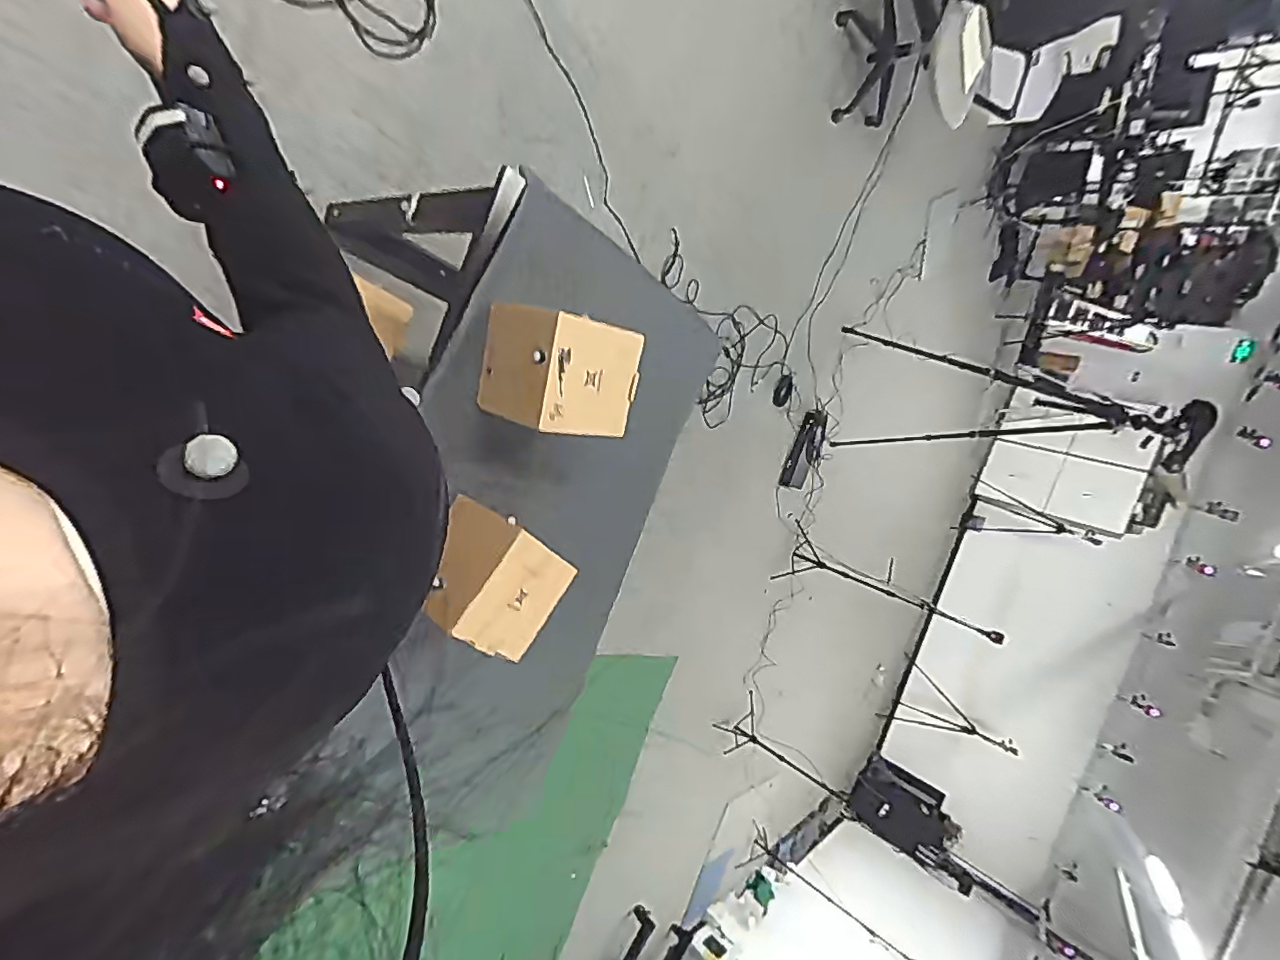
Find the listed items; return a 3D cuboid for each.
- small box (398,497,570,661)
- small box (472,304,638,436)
[{"bbox_3d":[-0.253,0.155,0.865,0.179,0.176,0.168,-58,144,-15],"label":"small box"},{"bbox_3d":[-0.135,-0.172,0.852,0.179,0.176,0.168,-1,107,-50],"label":"small box"}]
